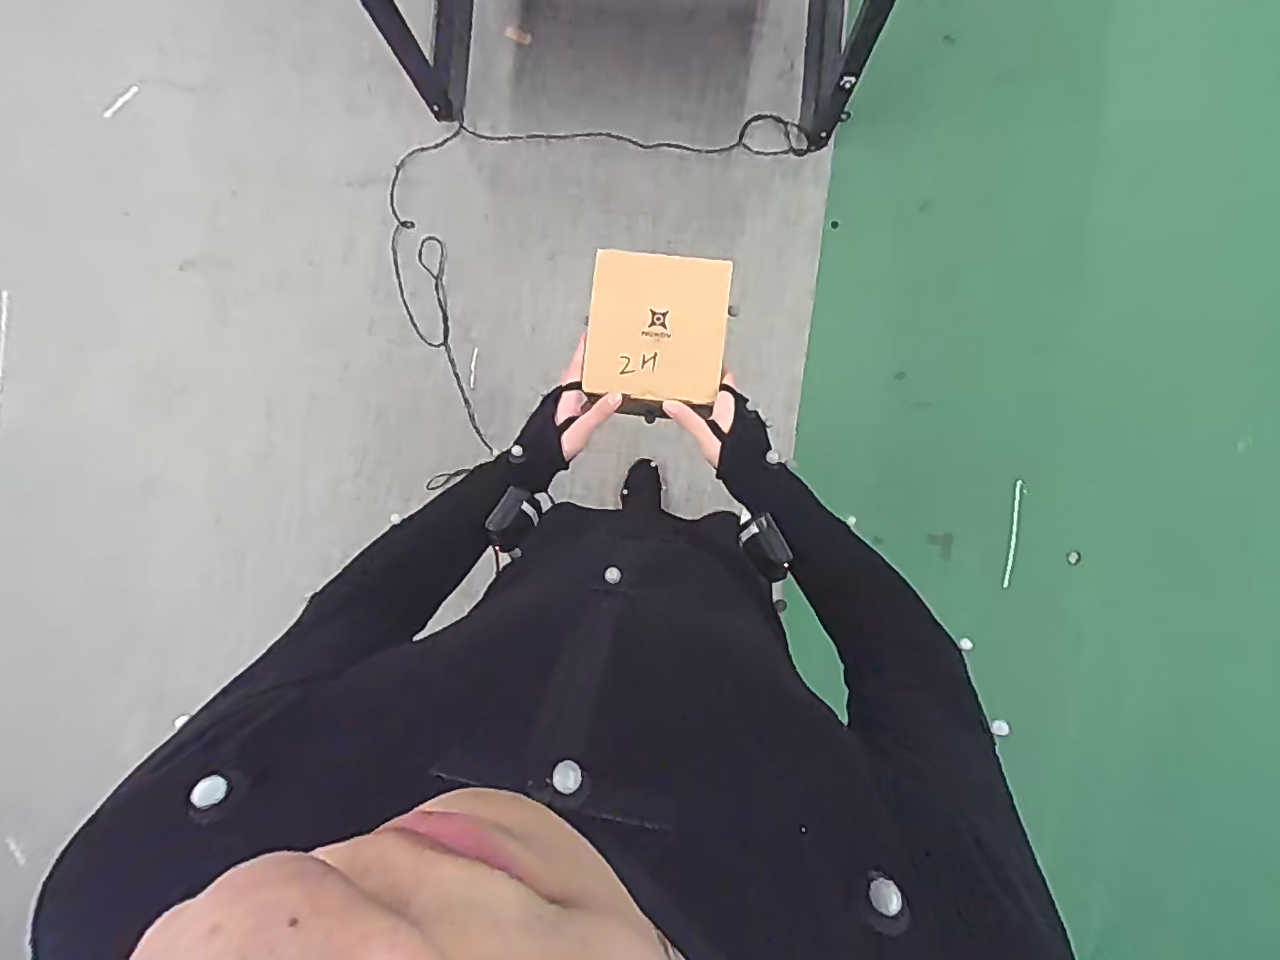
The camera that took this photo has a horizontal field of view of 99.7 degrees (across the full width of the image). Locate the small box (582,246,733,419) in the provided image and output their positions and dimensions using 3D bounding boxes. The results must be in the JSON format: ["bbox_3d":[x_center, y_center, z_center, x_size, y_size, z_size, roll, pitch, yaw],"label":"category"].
[{"bbox_3d":[0.023,-0.185,0.725,0.168,0.176,0.179,6,90,2],"label":"small box"}]

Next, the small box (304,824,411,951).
[{"bbox_3d":[-0.710,1.028,1.376,0.168,0.176,0.179,12,90,2],"label":"small box"}]

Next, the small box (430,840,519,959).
[{"bbox_3d":[-0.411,1.060,1.365,0.168,0.176,0.179,6,92,1],"label":"small box"}]
